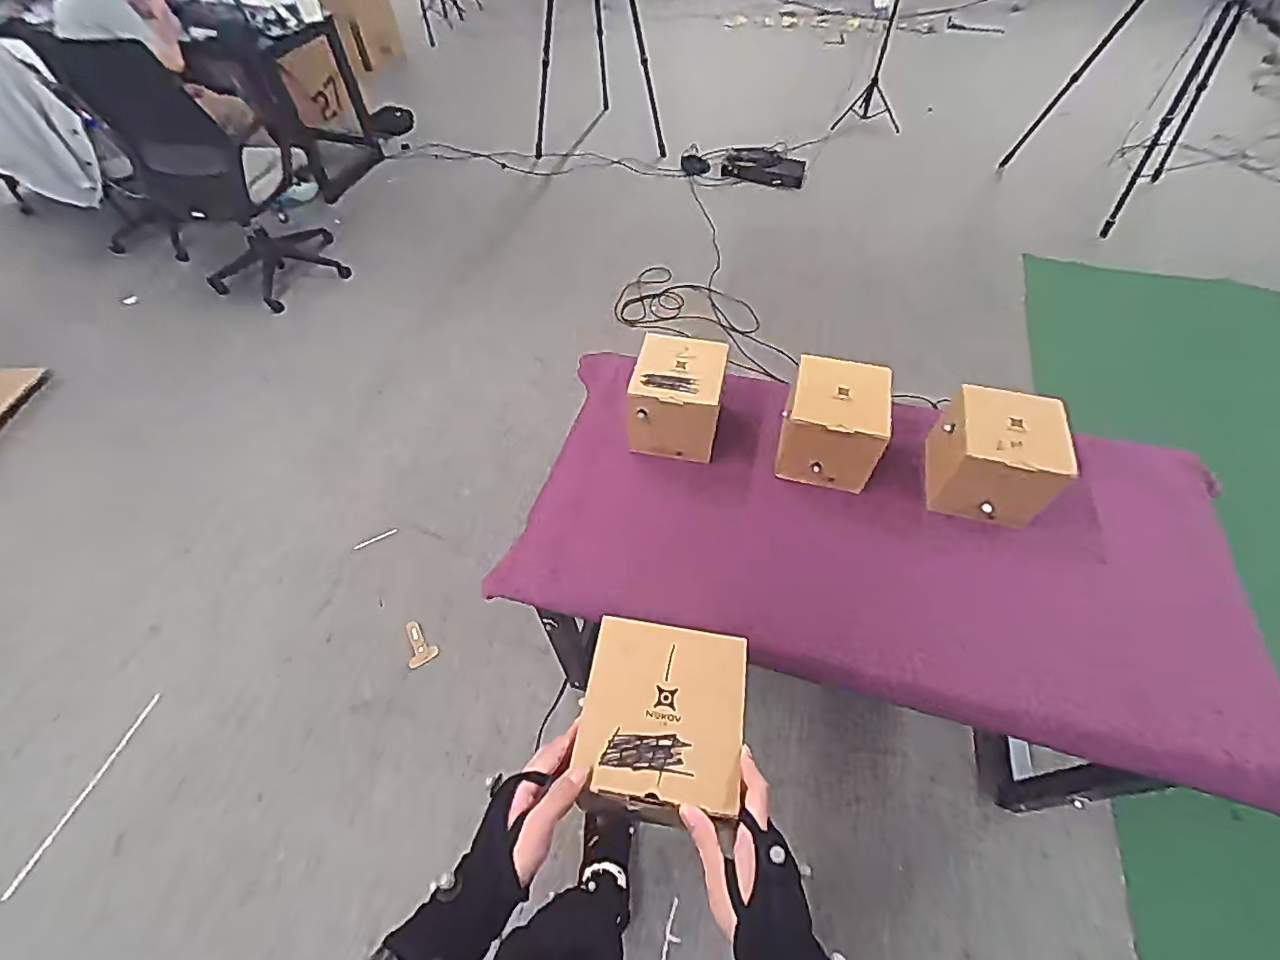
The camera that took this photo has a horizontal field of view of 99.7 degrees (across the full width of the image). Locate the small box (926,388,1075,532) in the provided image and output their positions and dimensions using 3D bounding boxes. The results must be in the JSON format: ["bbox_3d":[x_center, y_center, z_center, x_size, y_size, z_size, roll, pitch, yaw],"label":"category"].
[{"bbox_3d":[0.631,-0.034,0.971,0.168,0.176,0.179,12,56,12],"label":"small box"}]

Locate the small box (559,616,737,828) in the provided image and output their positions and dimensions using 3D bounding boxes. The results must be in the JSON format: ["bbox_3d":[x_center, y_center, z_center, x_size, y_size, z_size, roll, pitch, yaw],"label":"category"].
[{"bbox_3d":[0.015,0.282,0.624,0.168,0.176,0.179,8,52,5],"label":"small box"}]

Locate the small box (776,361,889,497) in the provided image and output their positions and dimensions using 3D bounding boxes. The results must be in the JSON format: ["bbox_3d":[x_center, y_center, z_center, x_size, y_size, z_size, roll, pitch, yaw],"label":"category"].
[{"bbox_3d":[0.362,-0.096,1.031,0.168,0.176,0.179,11,56,10],"label":"small box"}]
